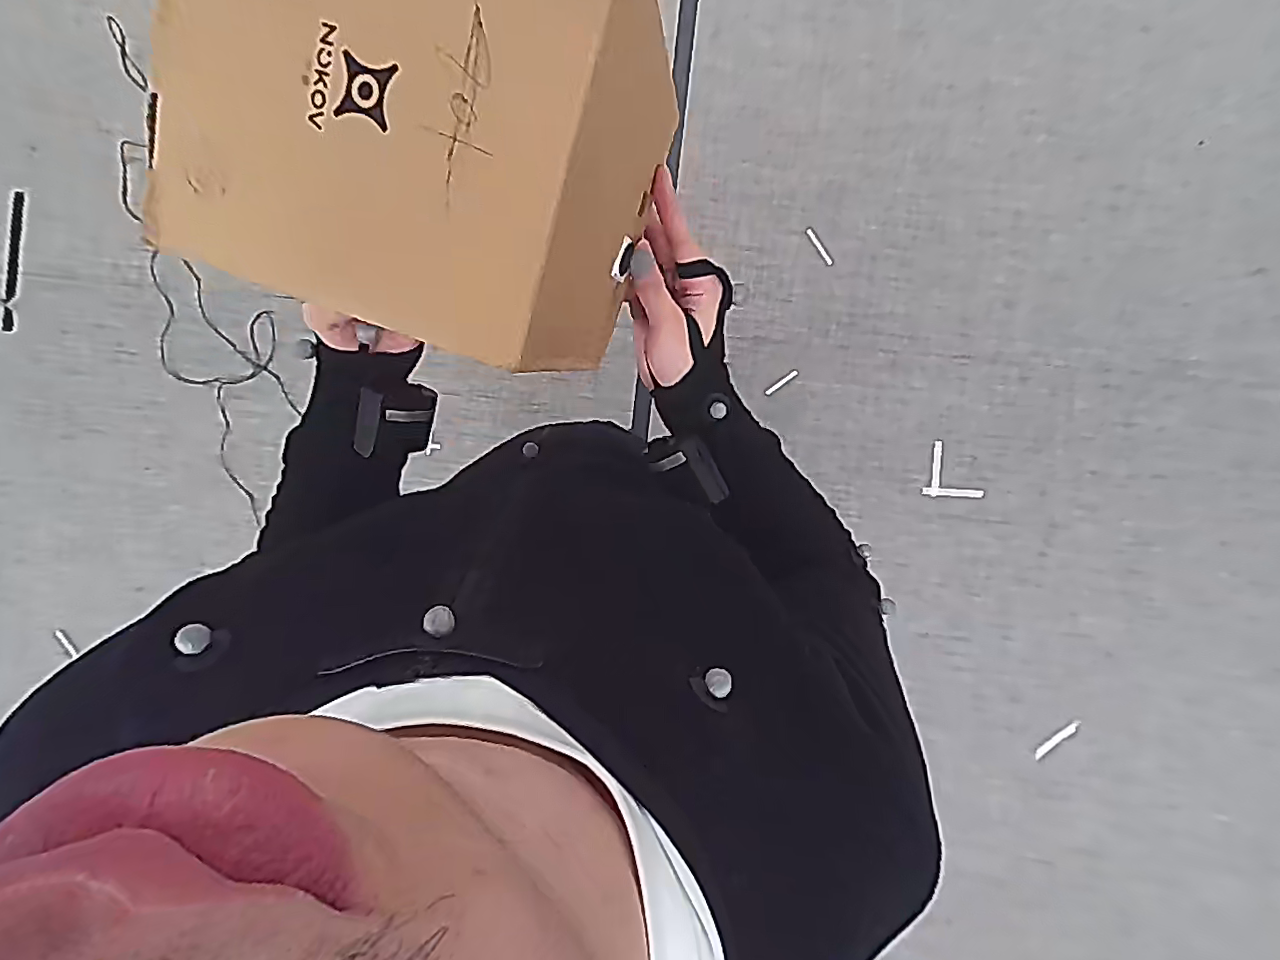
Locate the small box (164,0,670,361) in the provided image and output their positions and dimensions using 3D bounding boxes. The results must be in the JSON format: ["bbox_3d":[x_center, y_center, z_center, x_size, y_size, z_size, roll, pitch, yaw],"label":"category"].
[{"bbox_3d":[-0.094,-0.167,0.293,0.179,0.176,0.168,19,105,4],"label":"small box"}]
